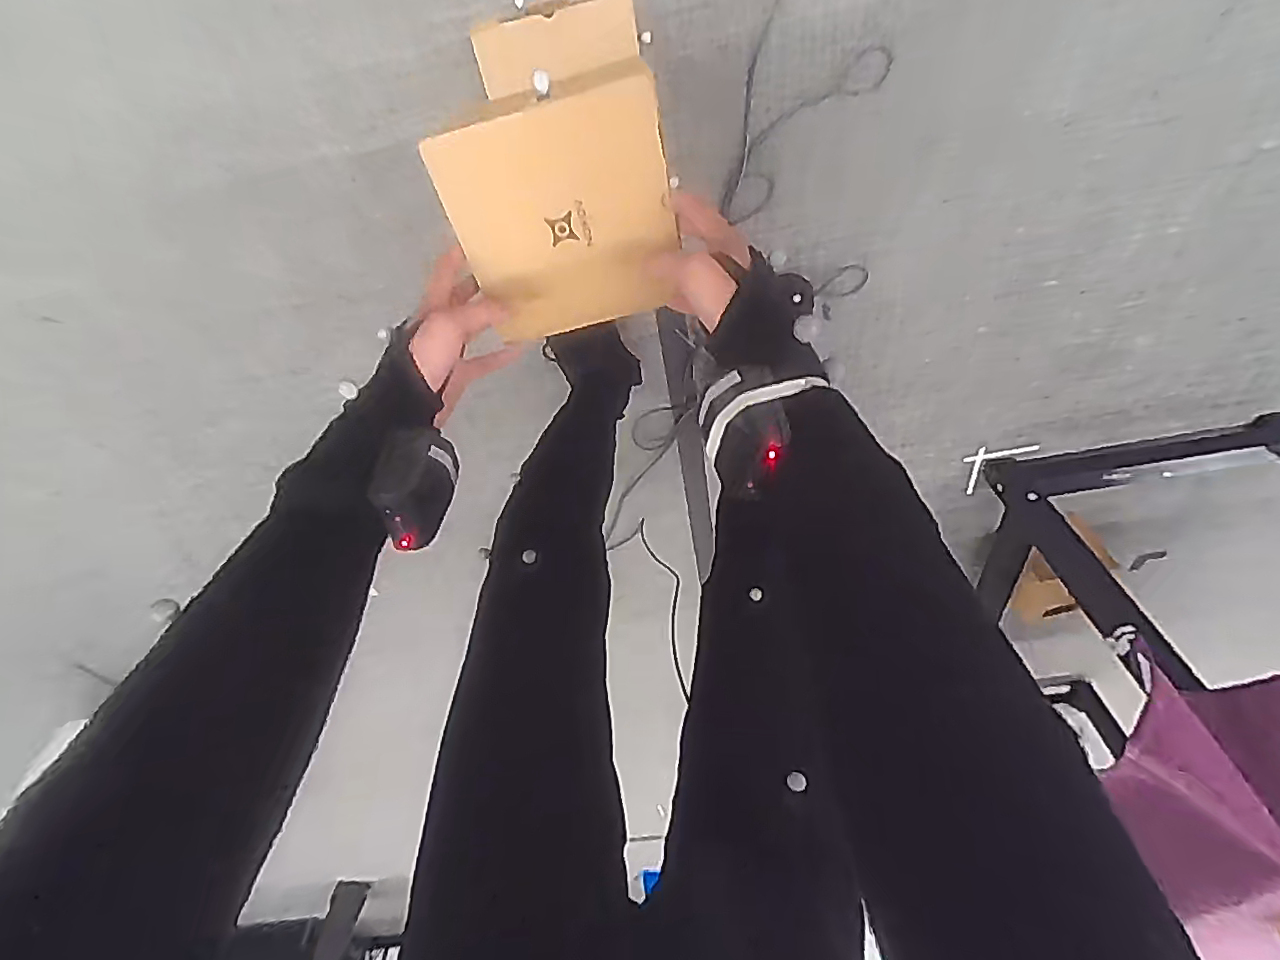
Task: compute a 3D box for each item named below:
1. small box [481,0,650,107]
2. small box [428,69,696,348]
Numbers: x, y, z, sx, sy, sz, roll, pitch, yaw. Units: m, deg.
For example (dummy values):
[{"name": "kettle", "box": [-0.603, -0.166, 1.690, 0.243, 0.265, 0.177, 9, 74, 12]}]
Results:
[{"name": "small box", "box": [-0.068, -0.444, 0.640, 0.168, 0.176, 0.179, -8, 132, 6]}, {"name": "small box", "box": [-0.055, -0.246, 0.488, 0.179, 0.176, 0.168, -12, 130, 6]}]
